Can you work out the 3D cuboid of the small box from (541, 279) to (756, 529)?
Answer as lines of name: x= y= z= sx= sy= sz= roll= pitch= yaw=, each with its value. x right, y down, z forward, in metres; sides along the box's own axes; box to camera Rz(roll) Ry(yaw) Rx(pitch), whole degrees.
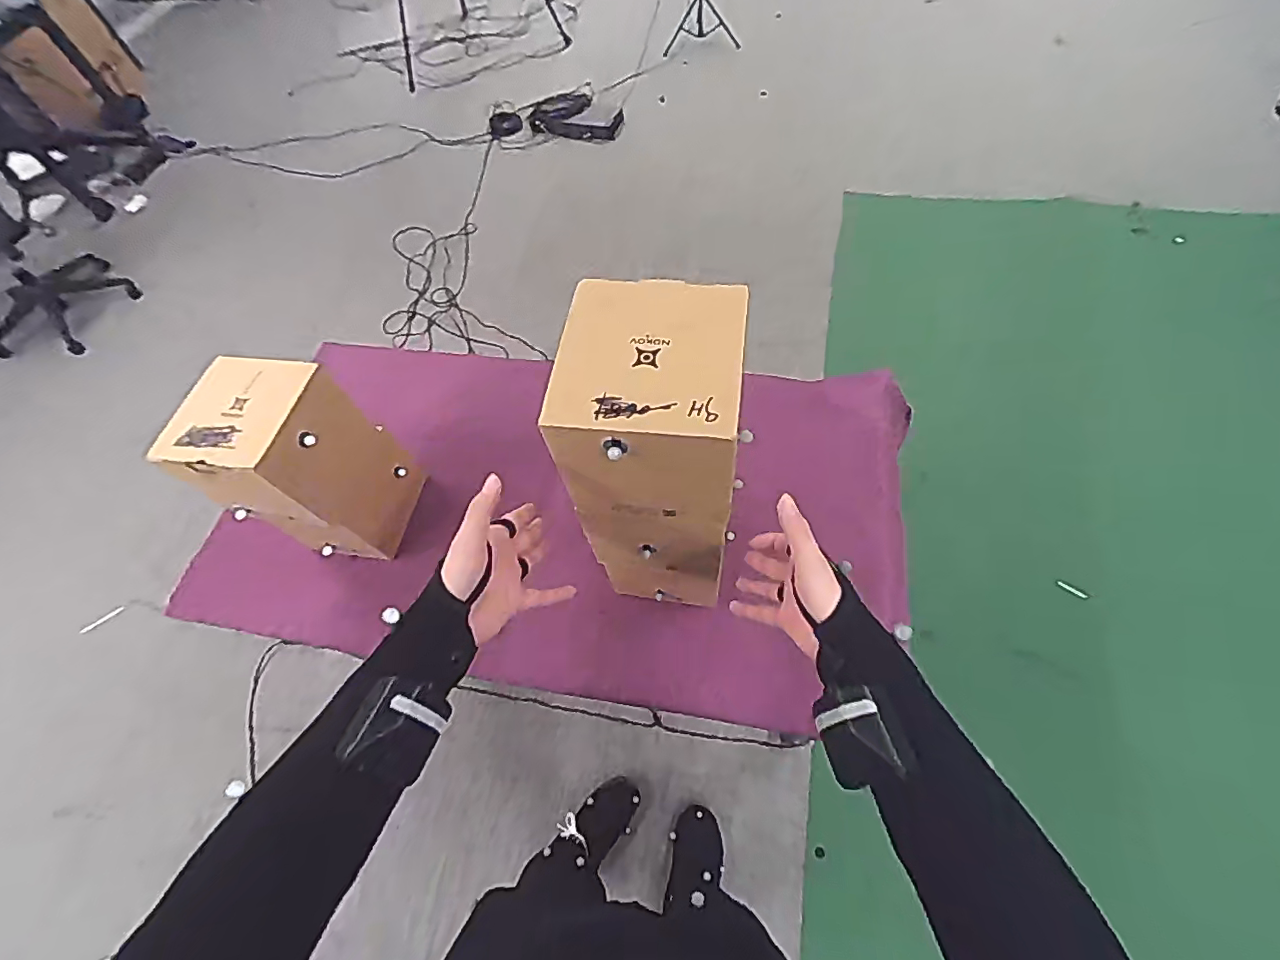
small box: x=0.019 y=-0.071 z=0.535 sx=0.168 sy=0.176 sz=0.179 roll=5 pitch=61 yaw=10

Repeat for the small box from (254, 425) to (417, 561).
small box: x=-0.505 y=0.018 z=0.914 sx=0.168 sy=0.176 sz=0.179 roll=6 pitch=61 yaw=9

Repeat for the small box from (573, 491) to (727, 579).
small box: x=0.030 y=0.010 z=0.677 sx=0.168 sy=0.176 sz=0.179 roll=7 pitch=61 yaw=9

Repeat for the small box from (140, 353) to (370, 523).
small box: x=-0.522 y=-0.055 z=0.769 sx=0.168 sy=0.176 sz=0.179 roll=6 pitch=60 yaw=10
